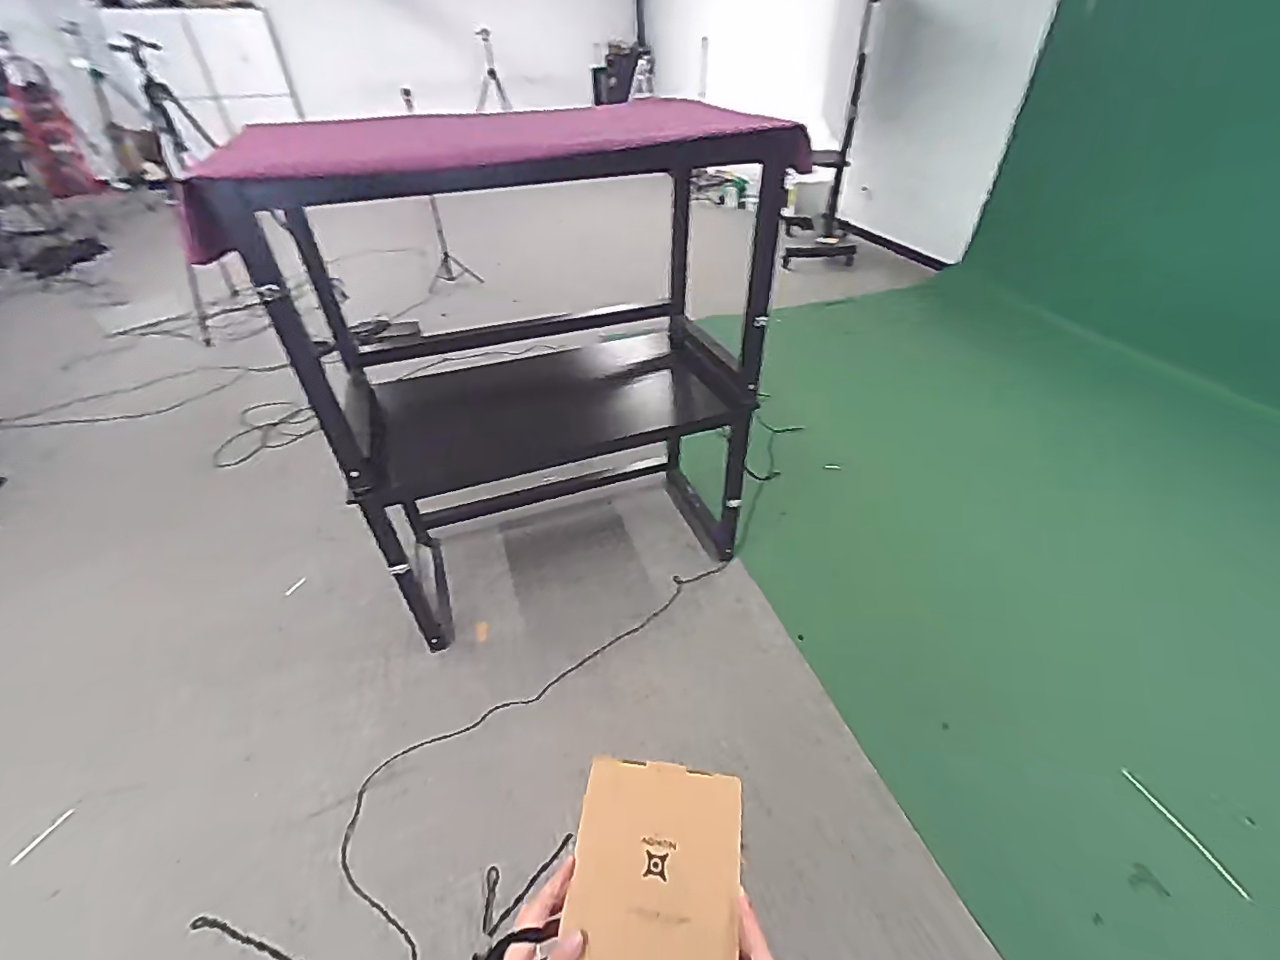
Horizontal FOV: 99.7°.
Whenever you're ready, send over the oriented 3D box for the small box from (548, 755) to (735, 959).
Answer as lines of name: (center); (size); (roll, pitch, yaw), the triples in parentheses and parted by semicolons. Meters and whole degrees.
small box: (0.010, 0.431, 0.589); (0.168, 0.176, 0.179); (5, 45, 7)
